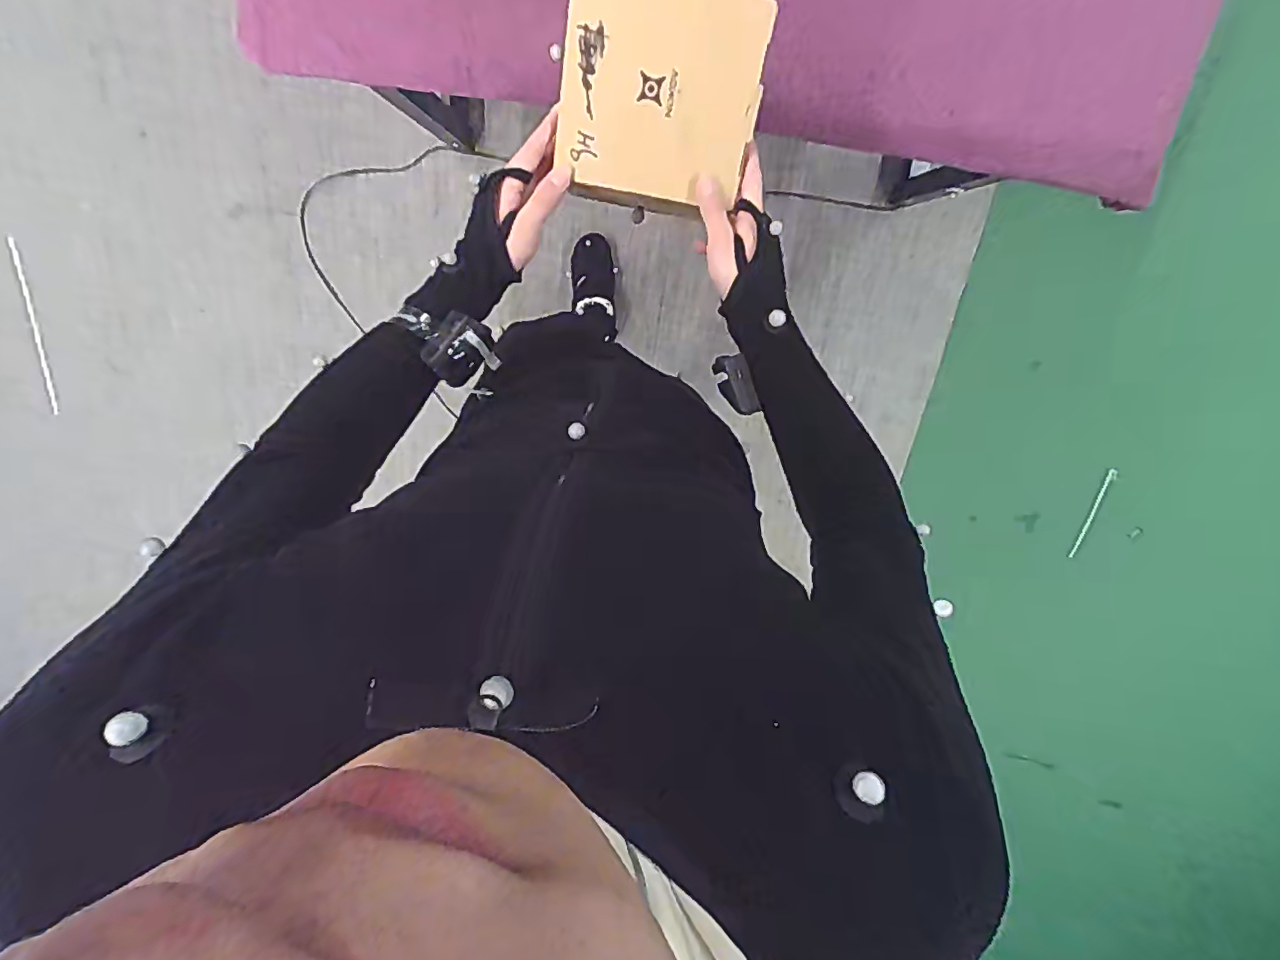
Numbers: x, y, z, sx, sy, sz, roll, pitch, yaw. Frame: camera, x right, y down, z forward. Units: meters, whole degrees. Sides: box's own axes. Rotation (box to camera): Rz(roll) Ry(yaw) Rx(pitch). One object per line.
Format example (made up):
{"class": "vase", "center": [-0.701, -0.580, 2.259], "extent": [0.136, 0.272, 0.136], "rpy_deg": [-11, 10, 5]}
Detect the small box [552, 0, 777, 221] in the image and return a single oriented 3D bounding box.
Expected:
{"class": "small box", "center": [0.014, -0.369, 0.552], "extent": [0.179, 0.176, 0.168], "rpy_deg": [9, 111, -6]}
